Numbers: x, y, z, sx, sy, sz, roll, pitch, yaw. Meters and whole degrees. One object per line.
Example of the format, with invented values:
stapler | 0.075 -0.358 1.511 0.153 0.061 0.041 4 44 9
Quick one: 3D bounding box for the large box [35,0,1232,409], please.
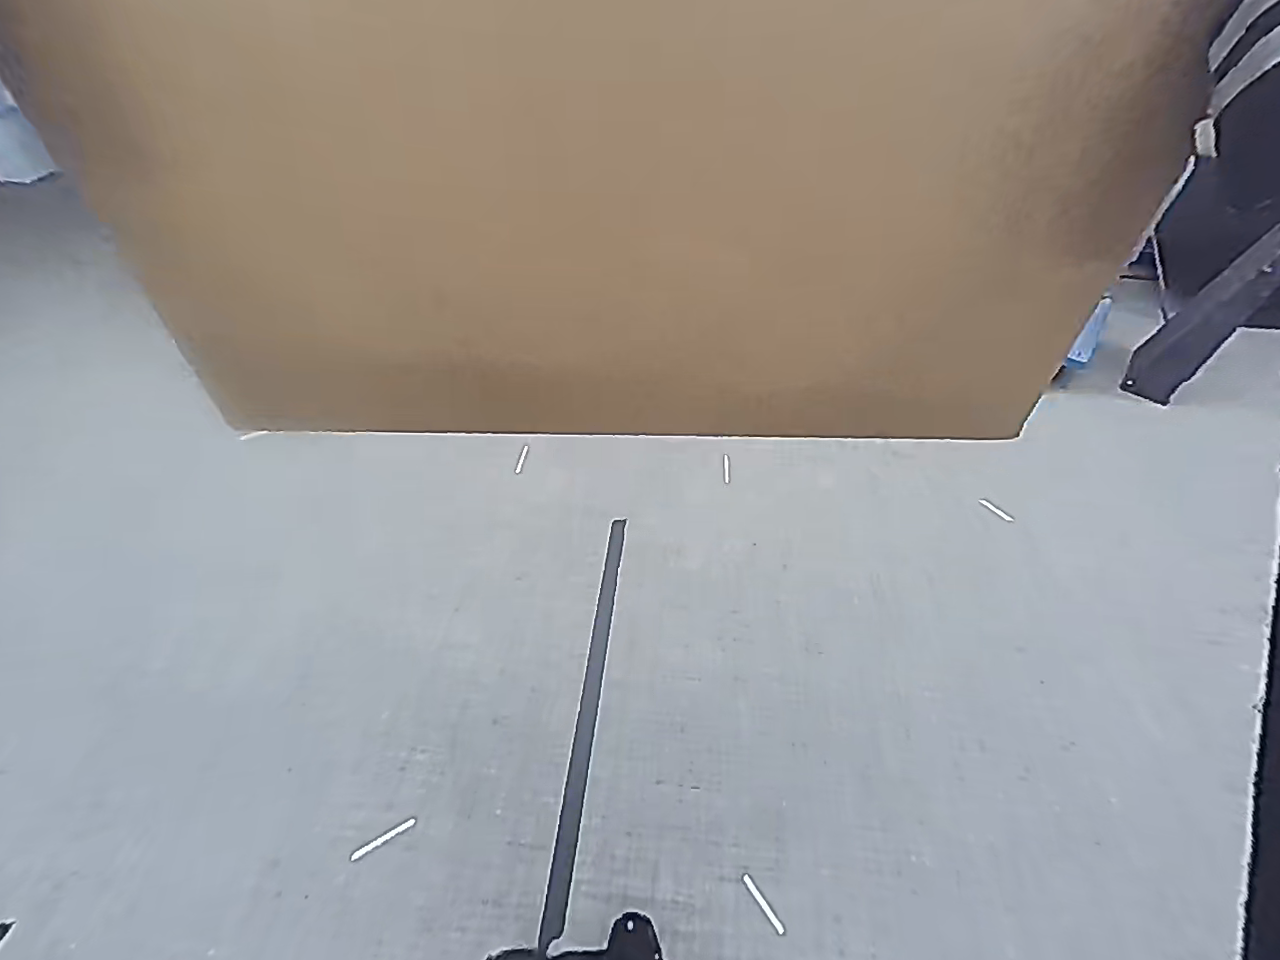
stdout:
large box | -0.003 -0.249 0.292 0.408 0.320 0.320 1 44 -1
